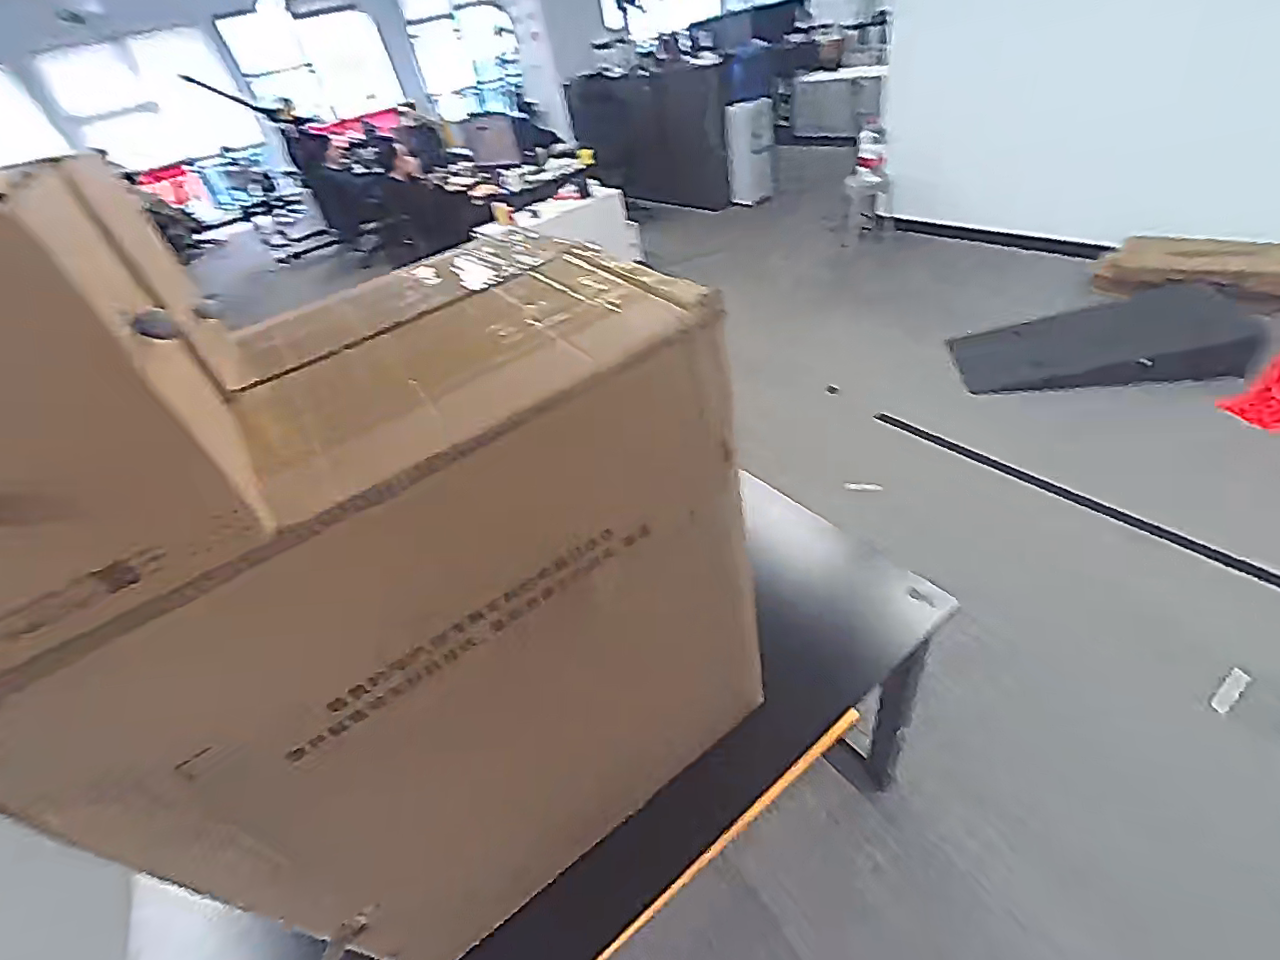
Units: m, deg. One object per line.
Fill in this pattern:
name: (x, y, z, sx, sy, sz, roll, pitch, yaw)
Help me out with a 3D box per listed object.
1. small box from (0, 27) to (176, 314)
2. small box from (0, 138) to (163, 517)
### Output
small box: (-0.424, -0.159, 0.309, 0.179, 0.176, 0.168, -30, 41, -20)
small box: (-0.299, -0.070, 0.170, 0.168, 0.176, 0.179, -33, 47, -26)
